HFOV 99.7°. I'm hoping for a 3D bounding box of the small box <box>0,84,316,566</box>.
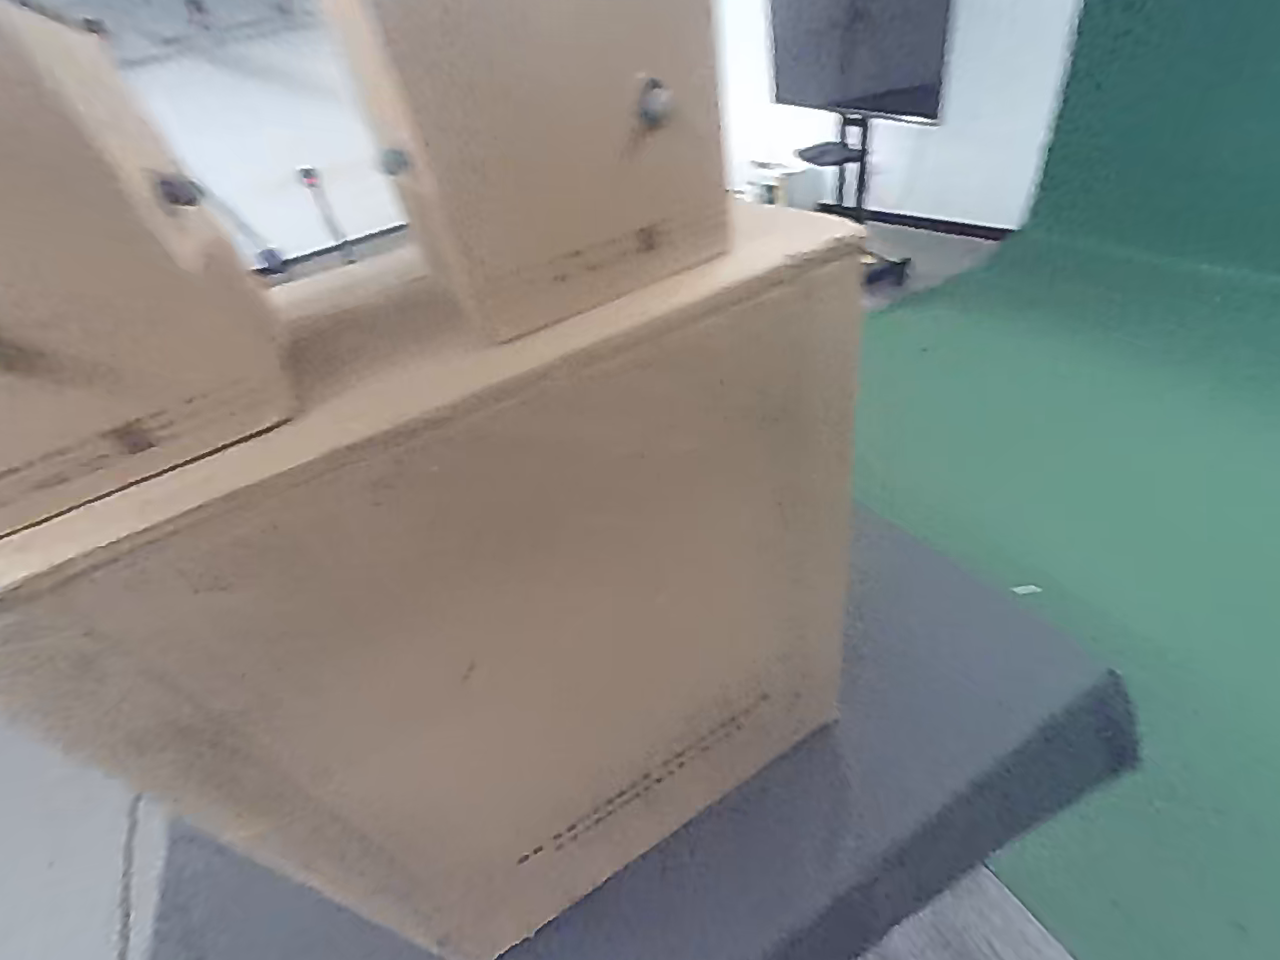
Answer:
[{"bbox_3d":[-0.300,-0.080,0.282,0.168,0.176,0.179,-31,43,-17],"label":"small box"}]
